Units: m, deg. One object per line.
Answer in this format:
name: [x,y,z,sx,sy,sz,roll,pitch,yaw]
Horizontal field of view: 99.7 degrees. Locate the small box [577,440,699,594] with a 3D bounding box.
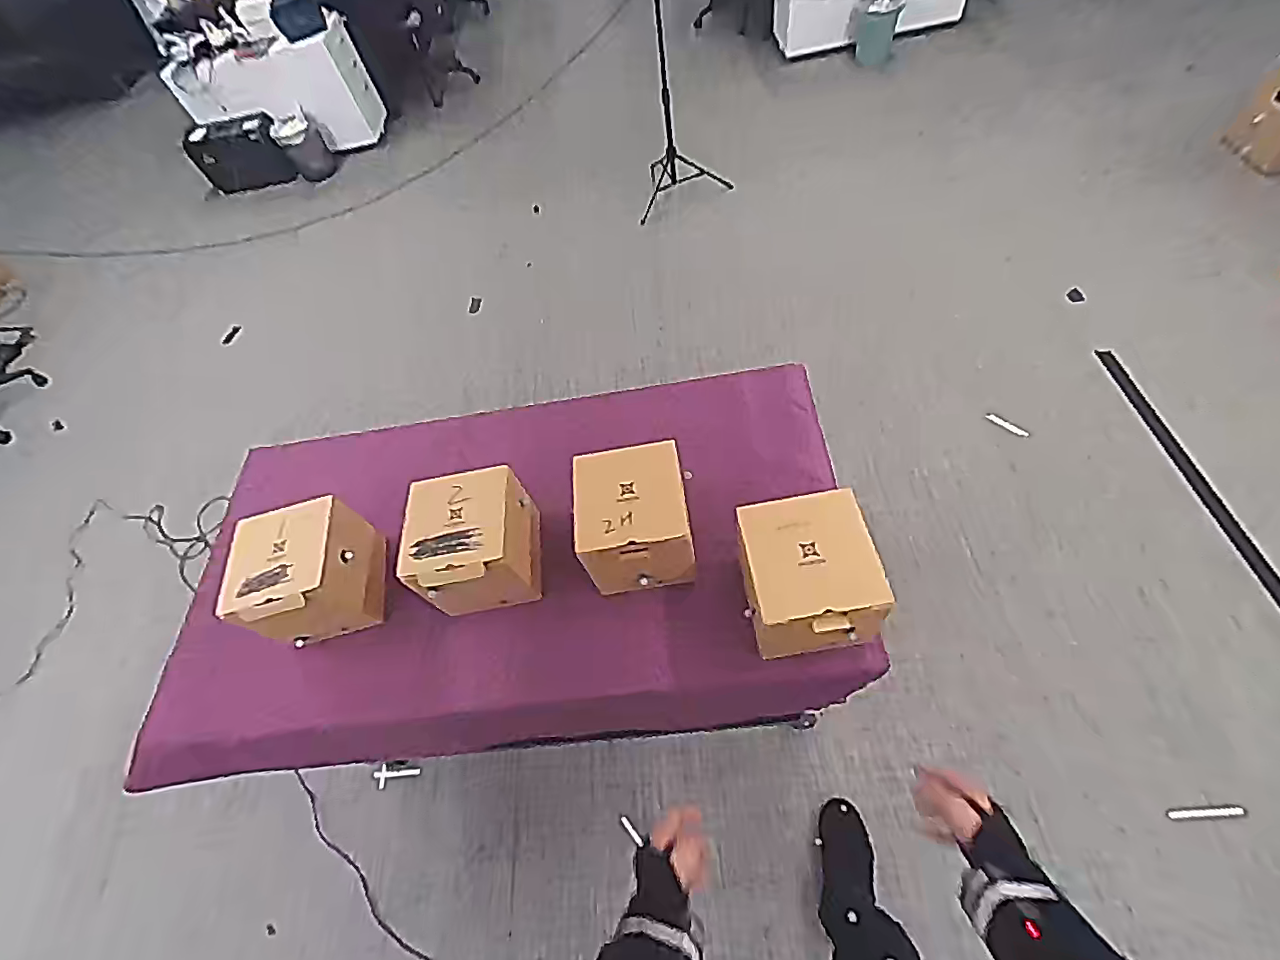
small box: [-0.001,0.063,0.869,0.168,0.176,0.179,-10,57,5]

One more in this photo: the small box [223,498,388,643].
small box: [-0.548,0.162,0.914,0.168,0.176,0.179,-16,56,0]

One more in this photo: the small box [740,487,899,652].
small box: [0.244,0.138,0.775,0.168,0.176,0.179,-10,56,4]
